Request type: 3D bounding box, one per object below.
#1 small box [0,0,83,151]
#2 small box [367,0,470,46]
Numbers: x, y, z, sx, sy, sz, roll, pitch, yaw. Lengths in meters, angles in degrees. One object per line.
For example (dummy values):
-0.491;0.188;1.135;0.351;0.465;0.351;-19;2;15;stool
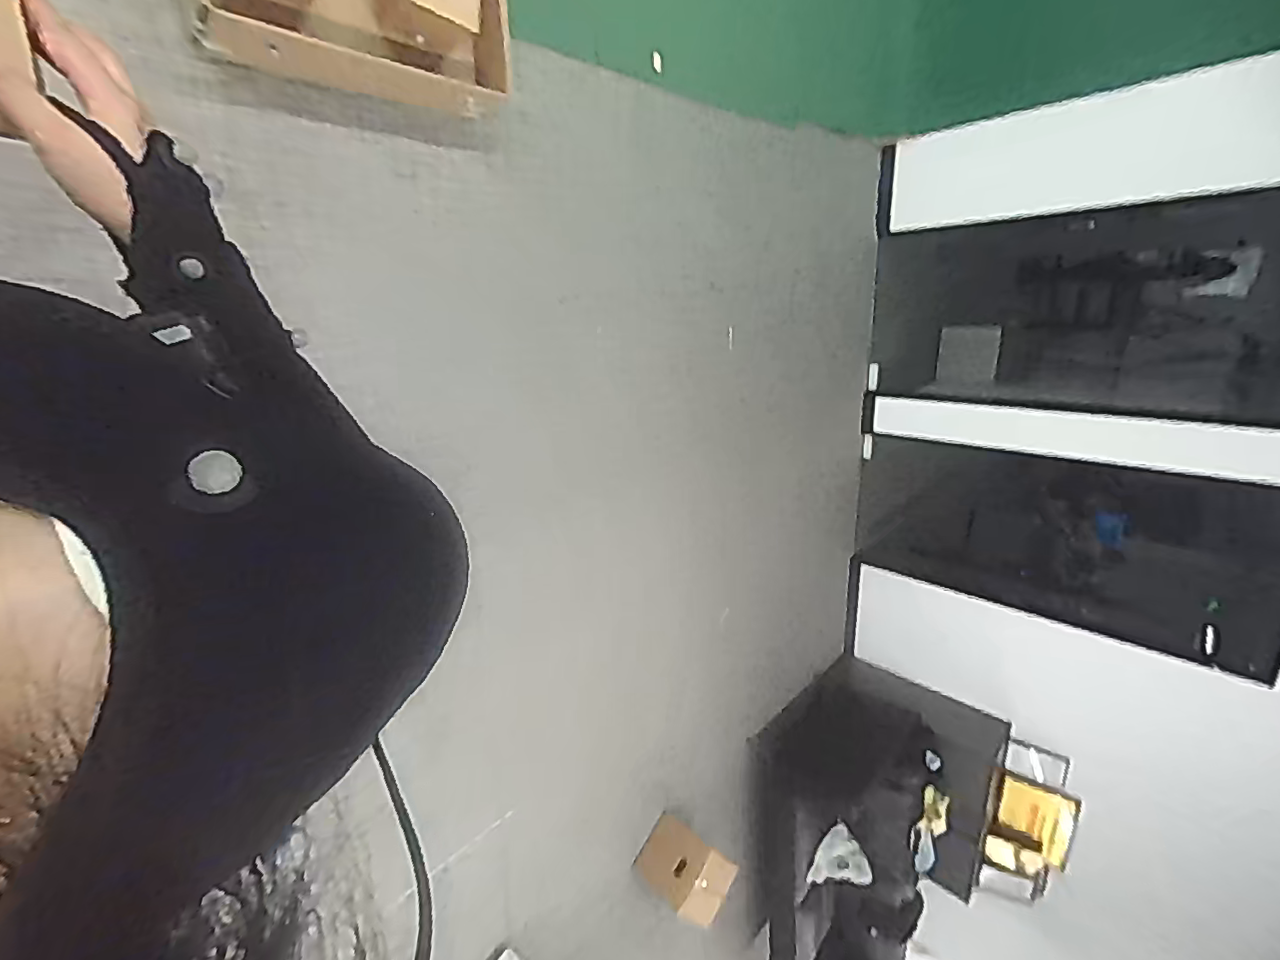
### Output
-0.444;-0.293;0.293;0.179;0.176;0.168;-12;120;-42;small box
-0.490;-1.113;1.190;0.168;0.176;0.179;-9;110;-44;small box
